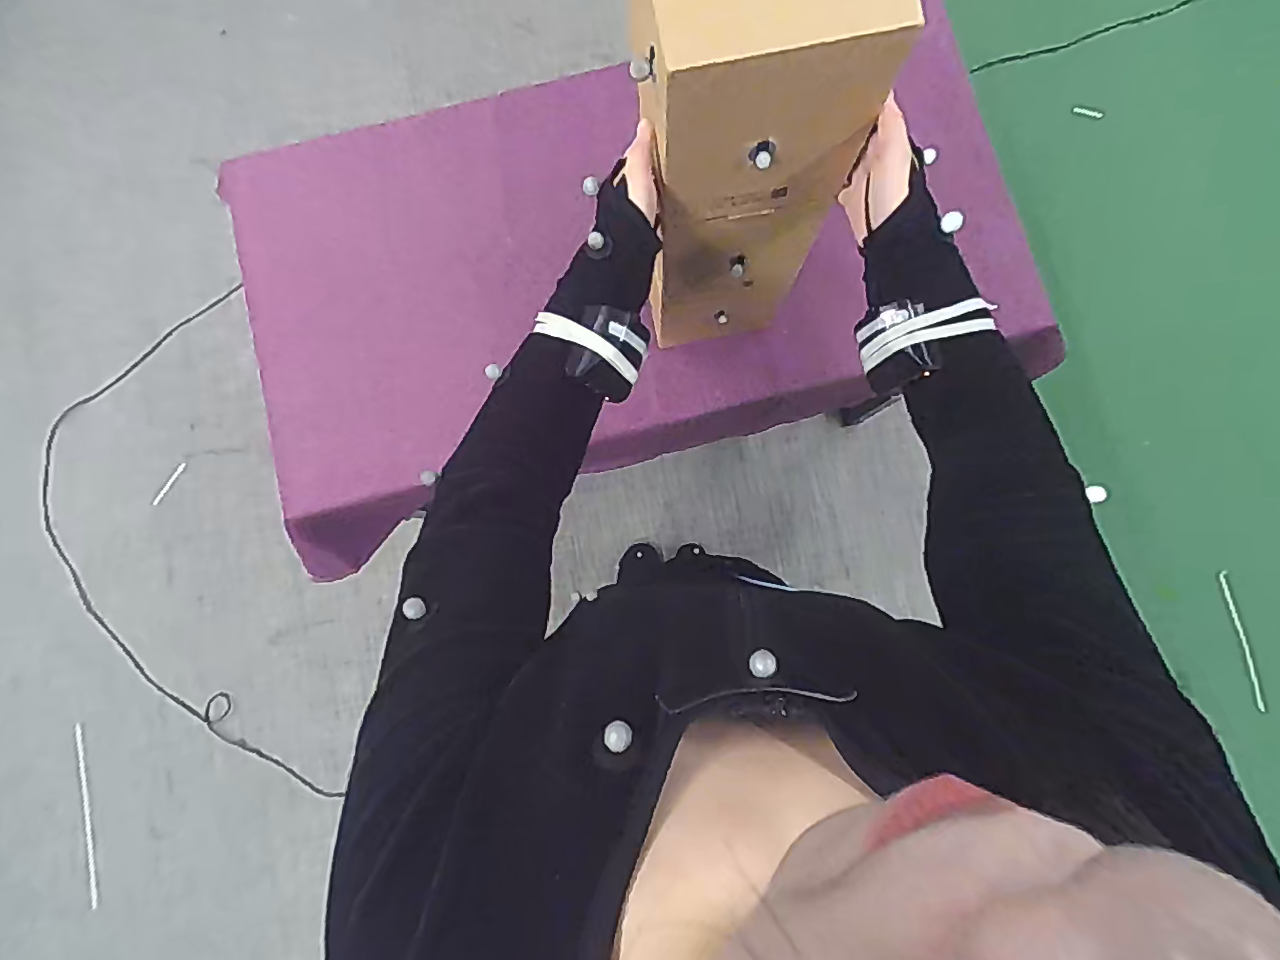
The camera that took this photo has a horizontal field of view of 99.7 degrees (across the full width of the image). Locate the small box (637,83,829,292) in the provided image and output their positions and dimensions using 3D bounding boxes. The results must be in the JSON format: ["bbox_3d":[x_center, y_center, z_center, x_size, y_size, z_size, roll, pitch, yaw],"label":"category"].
[{"bbox_3d":[0.091,-0.325,0.597,0.168,0.176,0.179,-8,84,0],"label":"small box"}]

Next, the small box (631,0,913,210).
[{"bbox_3d":[0.084,-0.343,0.433,0.168,0.176,0.179,-9,82,0],"label":"small box"}]
